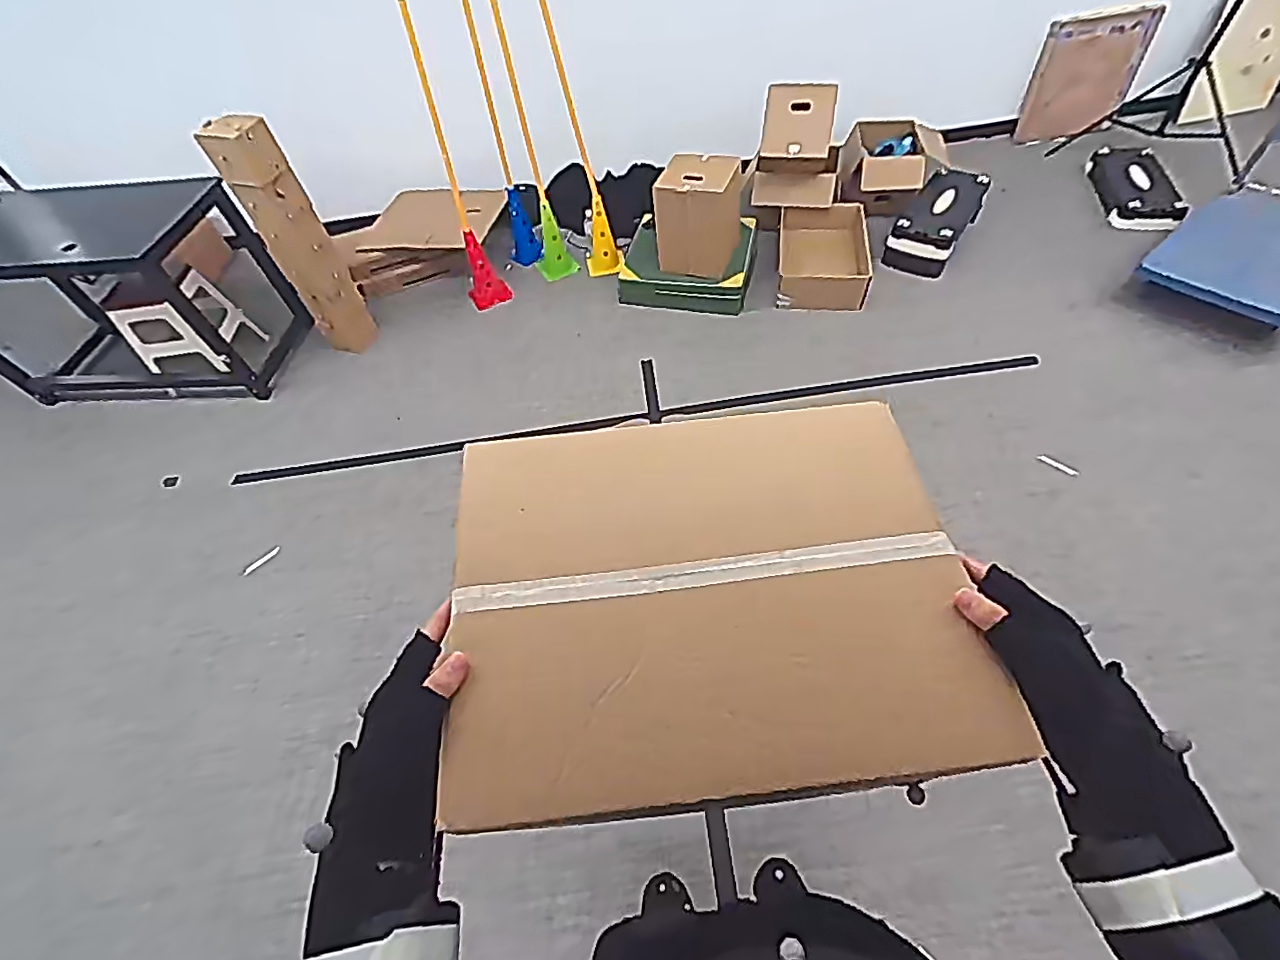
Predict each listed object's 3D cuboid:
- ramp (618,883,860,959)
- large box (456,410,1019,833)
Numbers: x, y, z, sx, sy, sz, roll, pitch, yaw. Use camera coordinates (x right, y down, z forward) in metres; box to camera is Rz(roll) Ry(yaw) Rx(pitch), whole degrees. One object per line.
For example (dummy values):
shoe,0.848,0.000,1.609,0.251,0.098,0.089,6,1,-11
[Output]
ramp,0.255,1.340,0.943,0.509,0.206,0.991,-9,54,-1
large box,0.061,0.161,0.574,0.408,0.320,0.320,-7,57,-1
